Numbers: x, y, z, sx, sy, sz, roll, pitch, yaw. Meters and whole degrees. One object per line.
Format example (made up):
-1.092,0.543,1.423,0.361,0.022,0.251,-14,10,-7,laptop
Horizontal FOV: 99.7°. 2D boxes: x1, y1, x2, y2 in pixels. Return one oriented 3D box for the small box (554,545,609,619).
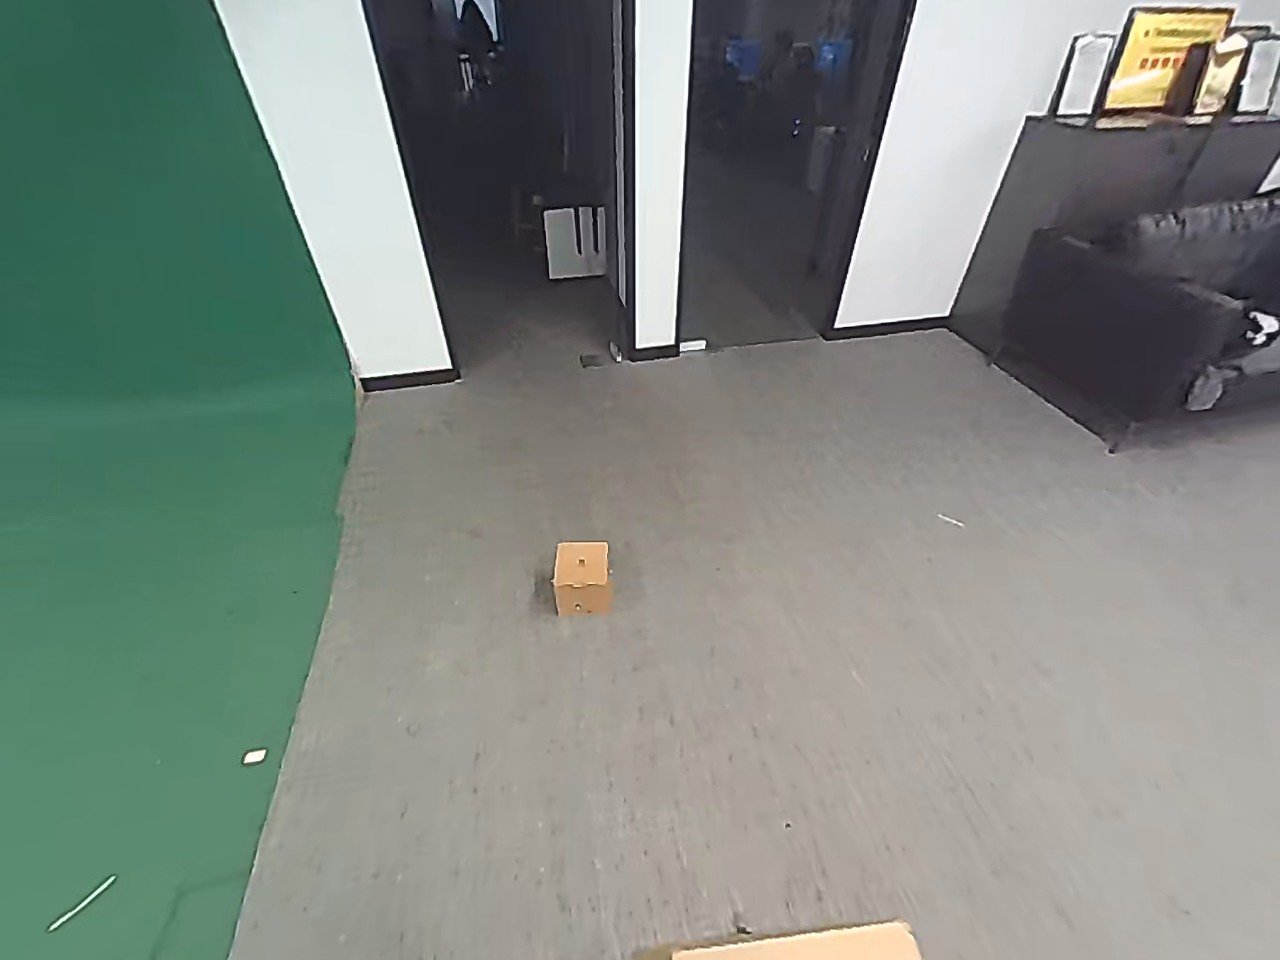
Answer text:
-0.188,0.333,1.774,0.168,0.176,0.179,0,41,-2,small box
